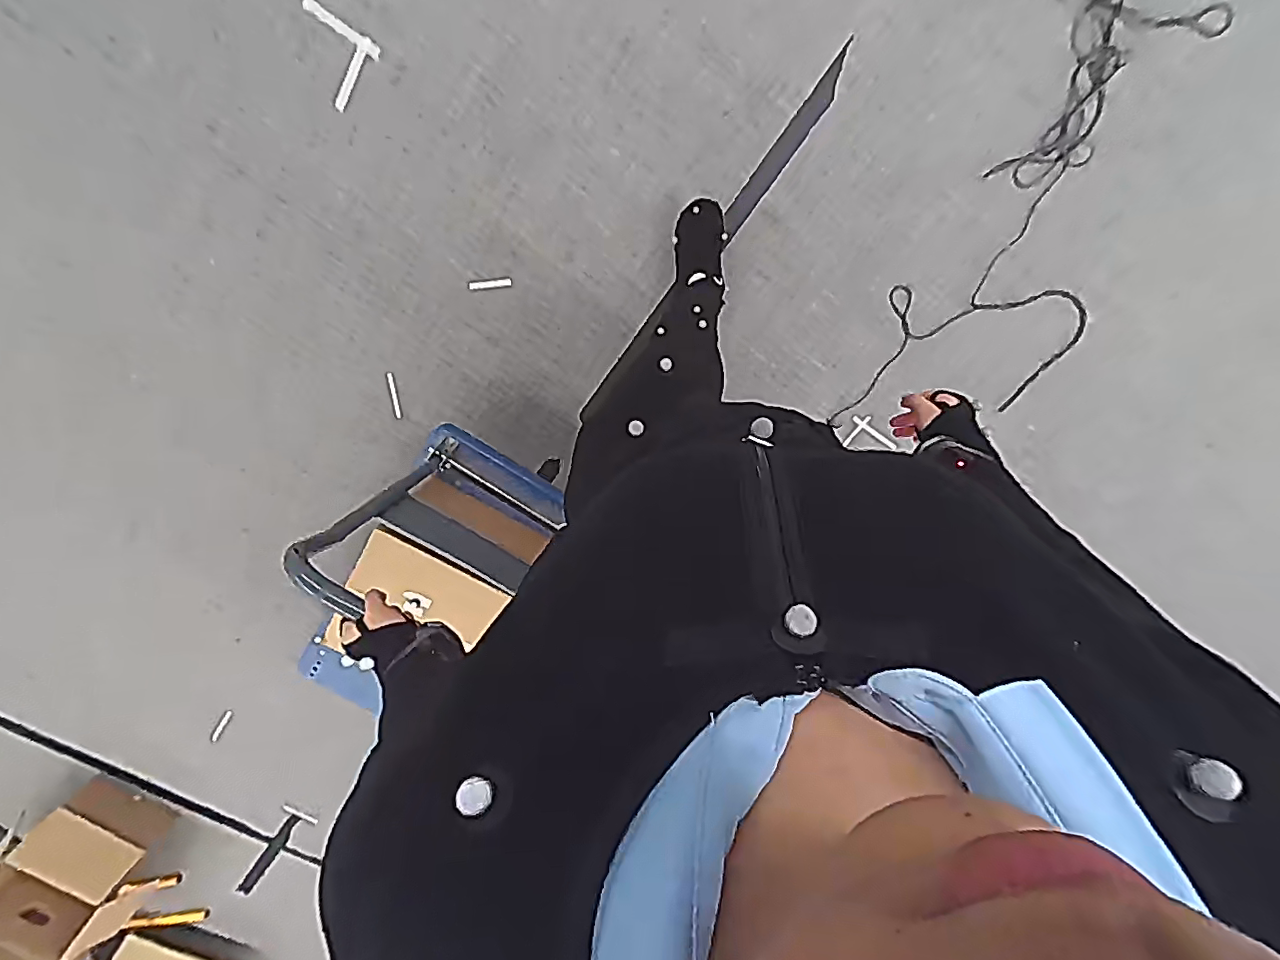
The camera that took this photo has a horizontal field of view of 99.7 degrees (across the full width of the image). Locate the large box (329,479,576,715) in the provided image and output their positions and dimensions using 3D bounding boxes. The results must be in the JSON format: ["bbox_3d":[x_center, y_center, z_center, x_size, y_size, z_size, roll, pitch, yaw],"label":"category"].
[{"bbox_3d":[-0.408,0.258,1.264,0.408,0.320,0.320,30,106,-9],"label":"large box"}]
